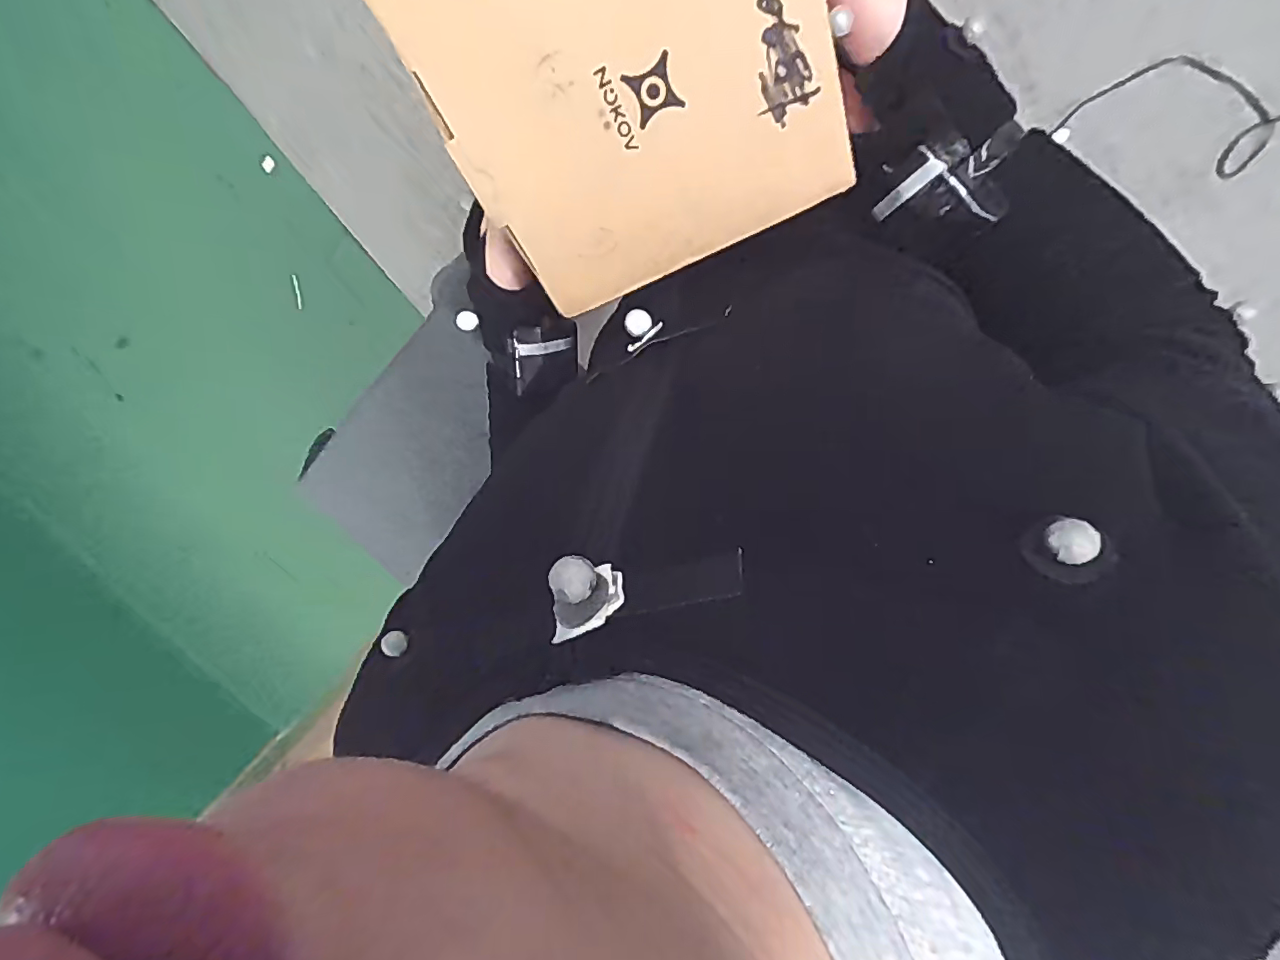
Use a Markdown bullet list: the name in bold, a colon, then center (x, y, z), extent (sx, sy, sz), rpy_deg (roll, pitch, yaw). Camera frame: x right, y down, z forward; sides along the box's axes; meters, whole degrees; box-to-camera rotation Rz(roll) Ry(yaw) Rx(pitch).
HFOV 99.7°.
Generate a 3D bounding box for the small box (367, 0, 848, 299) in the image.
- **small box**: center (-0.006, -0.238, 0.297), extent (0.179, 0.176, 0.168), rpy_deg (-18, 135, 17)
